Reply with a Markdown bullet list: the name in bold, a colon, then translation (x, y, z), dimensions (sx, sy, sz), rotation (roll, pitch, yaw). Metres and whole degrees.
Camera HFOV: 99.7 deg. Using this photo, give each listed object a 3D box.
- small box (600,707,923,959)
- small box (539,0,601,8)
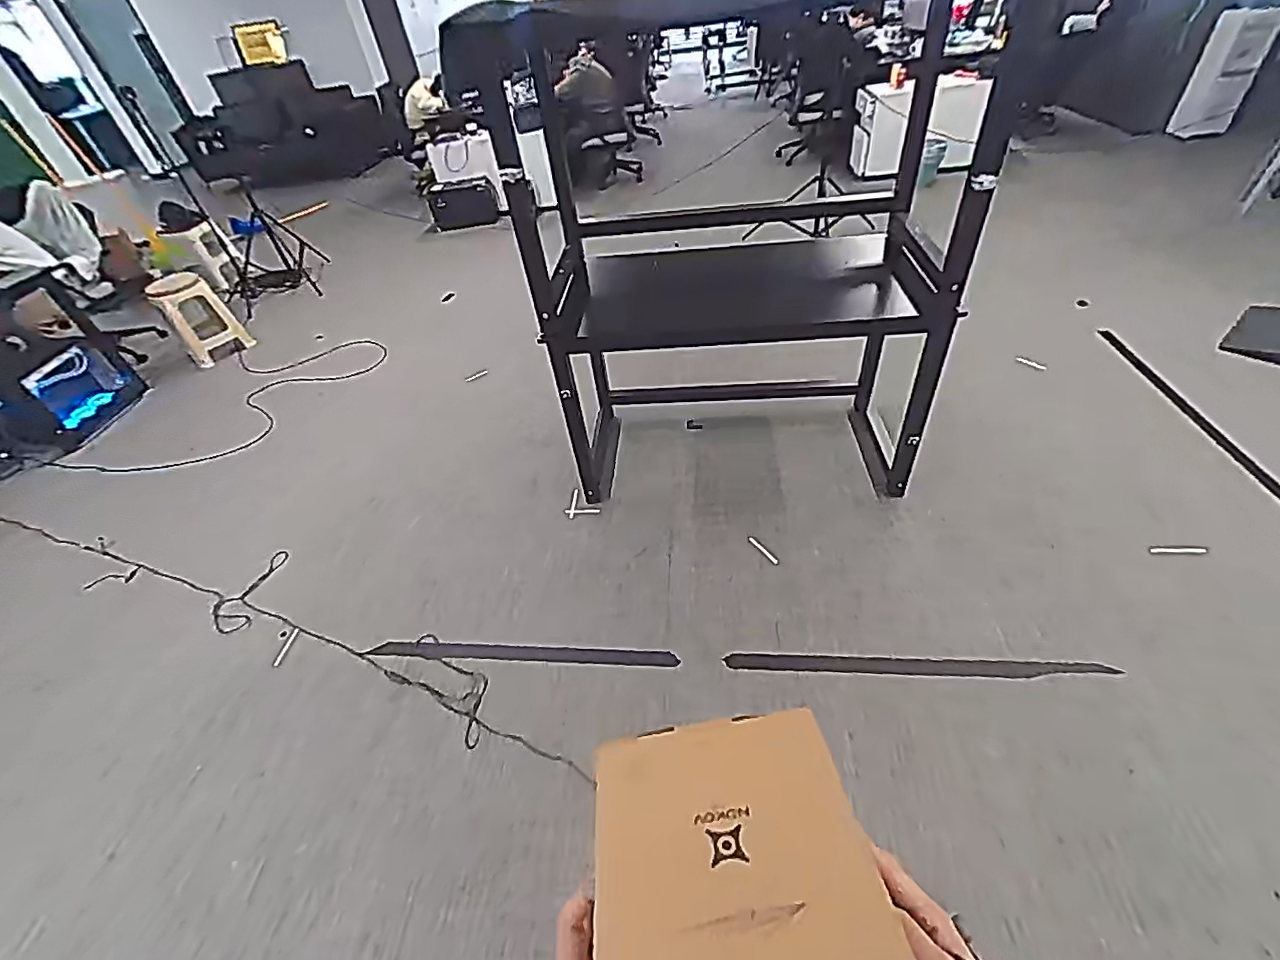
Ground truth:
- **small box**: translation (0.069, 0.293, 0.367), dimensions (0.168, 0.176, 0.179), rotation (-10, 26, 1)
- **small box**: translation (-0.131, -1.092, 1.110), dimensions (0.168, 0.176, 0.179), rotation (0, 41, 7)
